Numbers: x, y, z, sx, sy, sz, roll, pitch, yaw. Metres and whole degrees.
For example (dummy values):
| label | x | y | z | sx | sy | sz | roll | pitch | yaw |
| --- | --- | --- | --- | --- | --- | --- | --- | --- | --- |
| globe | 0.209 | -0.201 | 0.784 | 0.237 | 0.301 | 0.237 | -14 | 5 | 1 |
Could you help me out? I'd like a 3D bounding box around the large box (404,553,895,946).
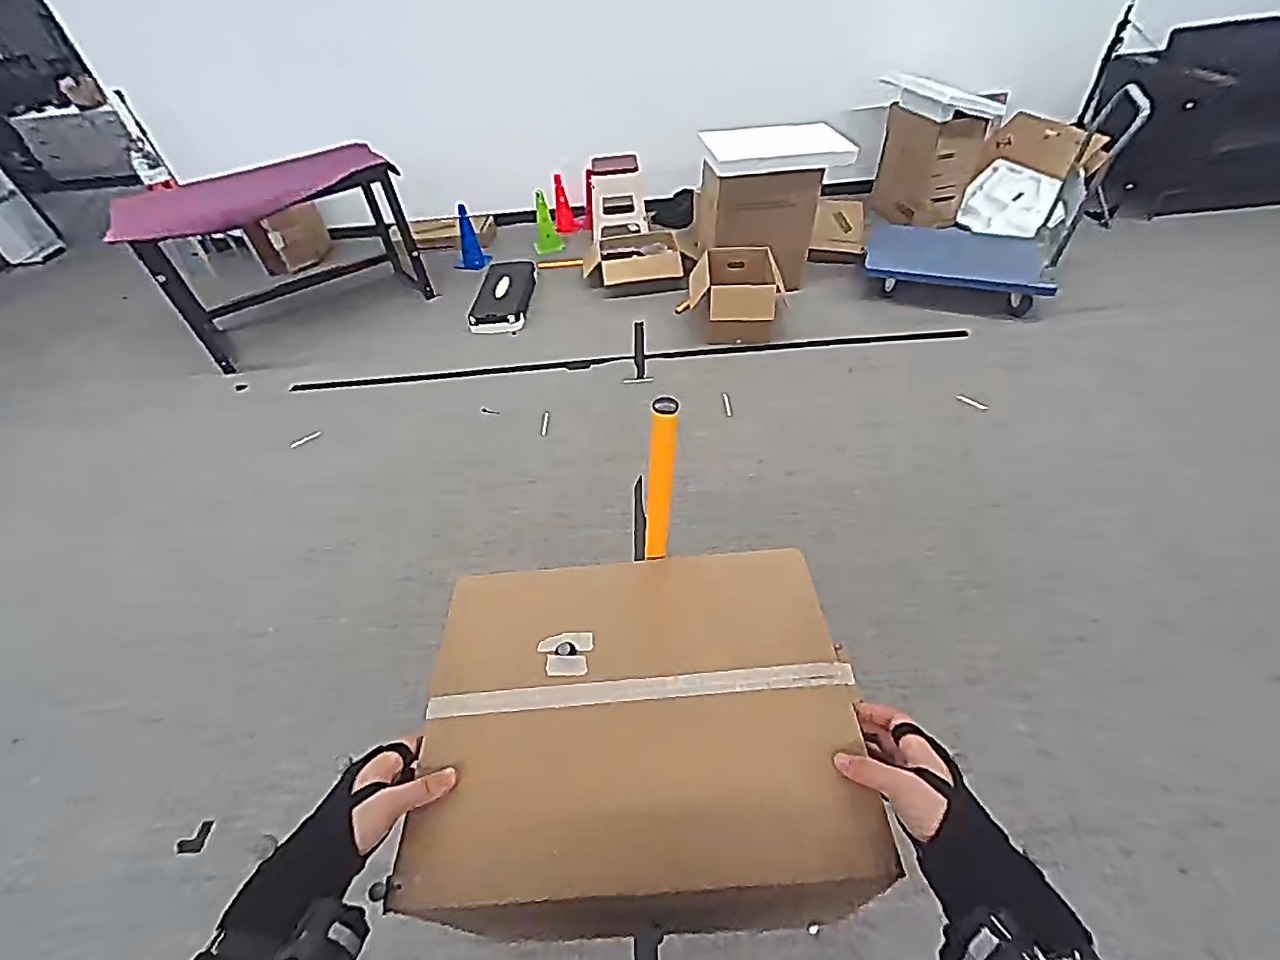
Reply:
| label | x | y | z | sx | sy | sz | roll | pitch | yaw |
| --- | --- | --- | --- | --- | --- | --- | --- | --- | --- |
| large box | 0.014 | 0.321 | 0.636 | 0.408 | 0.320 | 0.320 | -7 | 44 | 3 |
